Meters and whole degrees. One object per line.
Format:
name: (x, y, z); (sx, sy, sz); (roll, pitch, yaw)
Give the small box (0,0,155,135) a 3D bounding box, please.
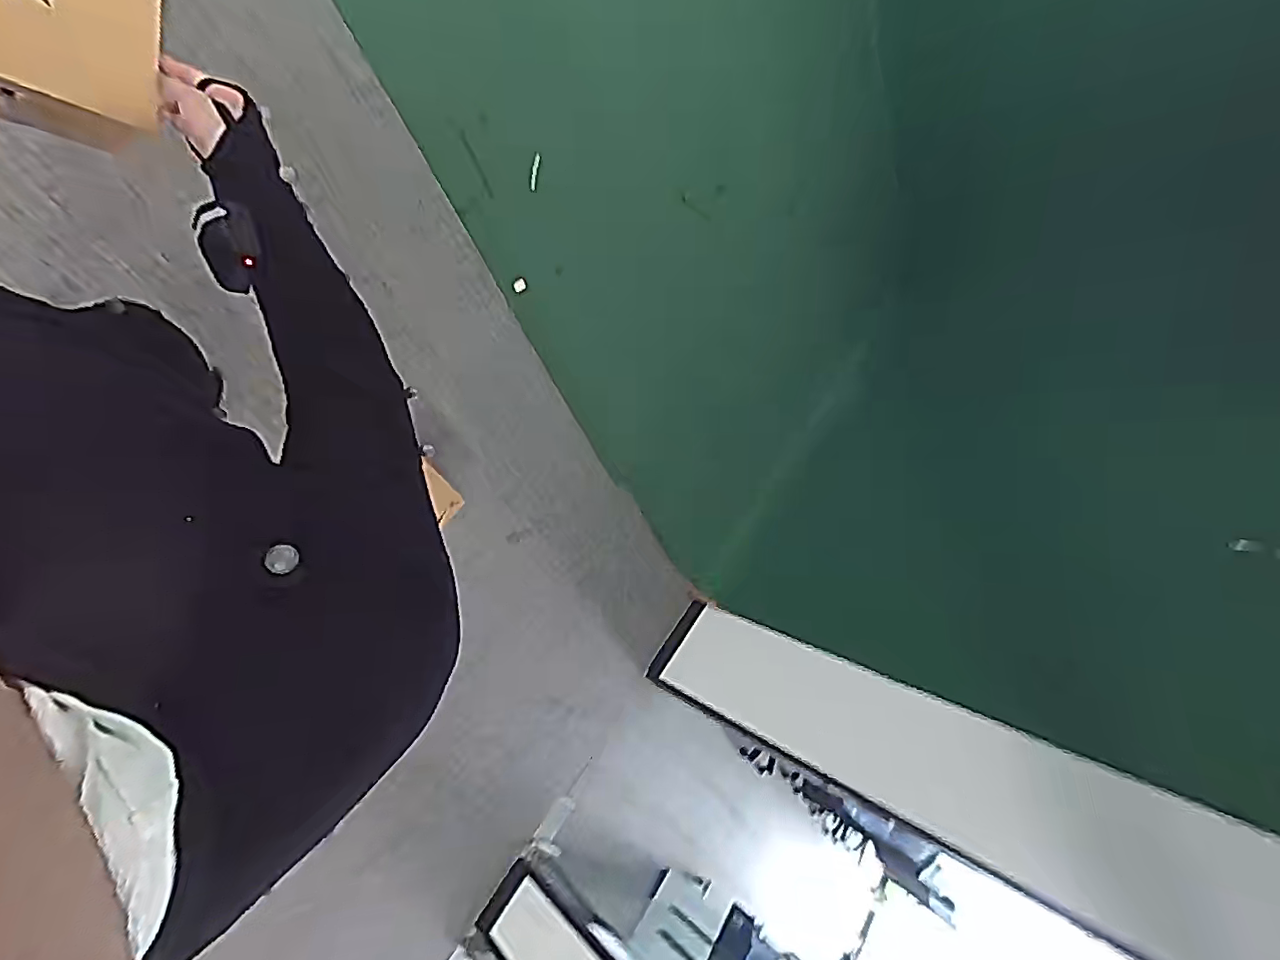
small box: (-0.570, -0.436, 0.483); (0.179, 0.176, 0.168); (-4, 106, -52)
